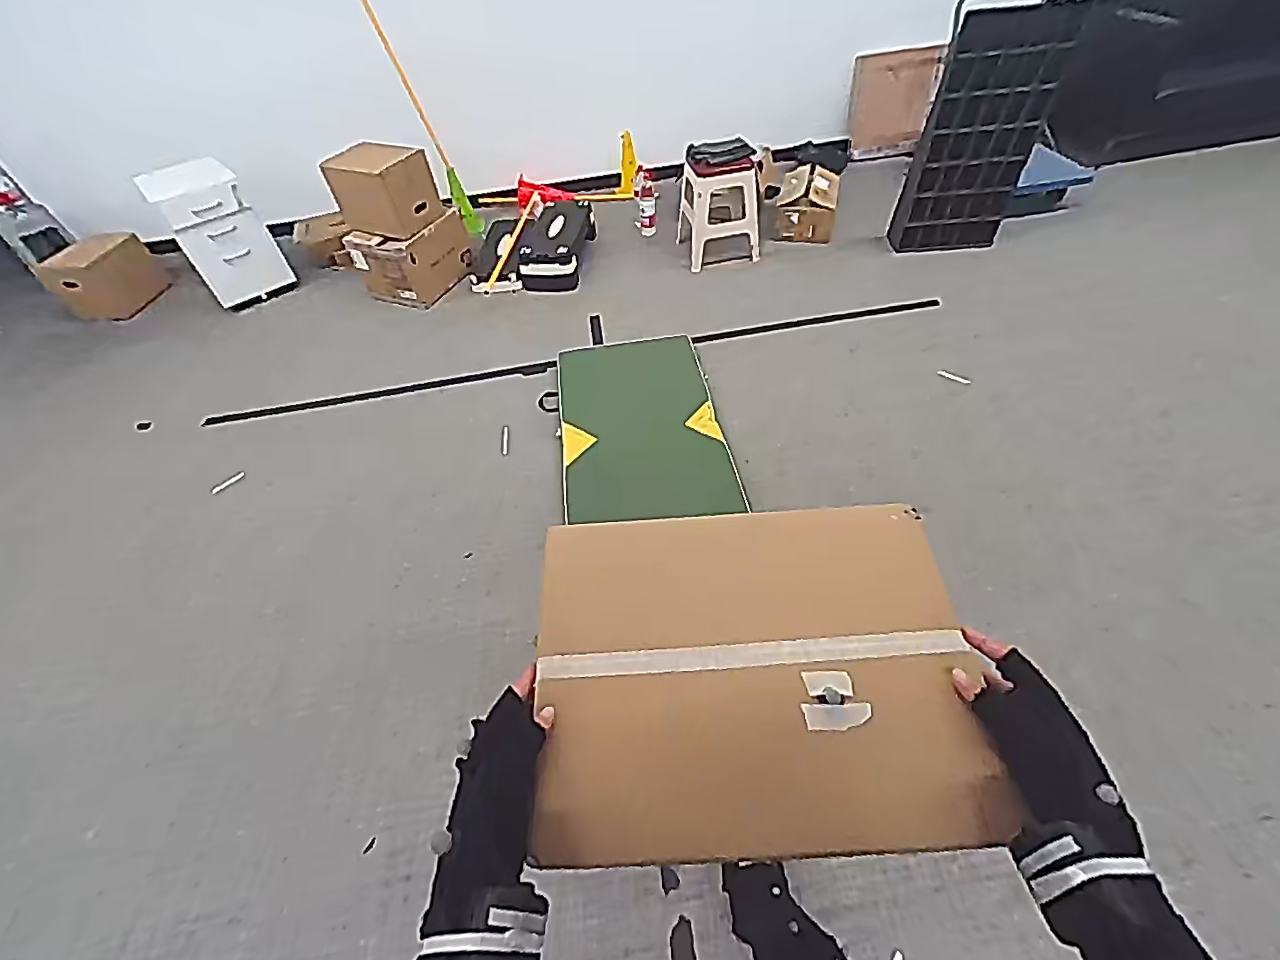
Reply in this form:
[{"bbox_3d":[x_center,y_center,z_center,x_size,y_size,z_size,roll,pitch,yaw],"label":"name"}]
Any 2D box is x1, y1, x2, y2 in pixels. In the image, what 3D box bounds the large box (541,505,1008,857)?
[{"bbox_3d":[0.110,0.254,0.658,0.408,0.320,0.320,-4,55,1],"label":"large box"}]
